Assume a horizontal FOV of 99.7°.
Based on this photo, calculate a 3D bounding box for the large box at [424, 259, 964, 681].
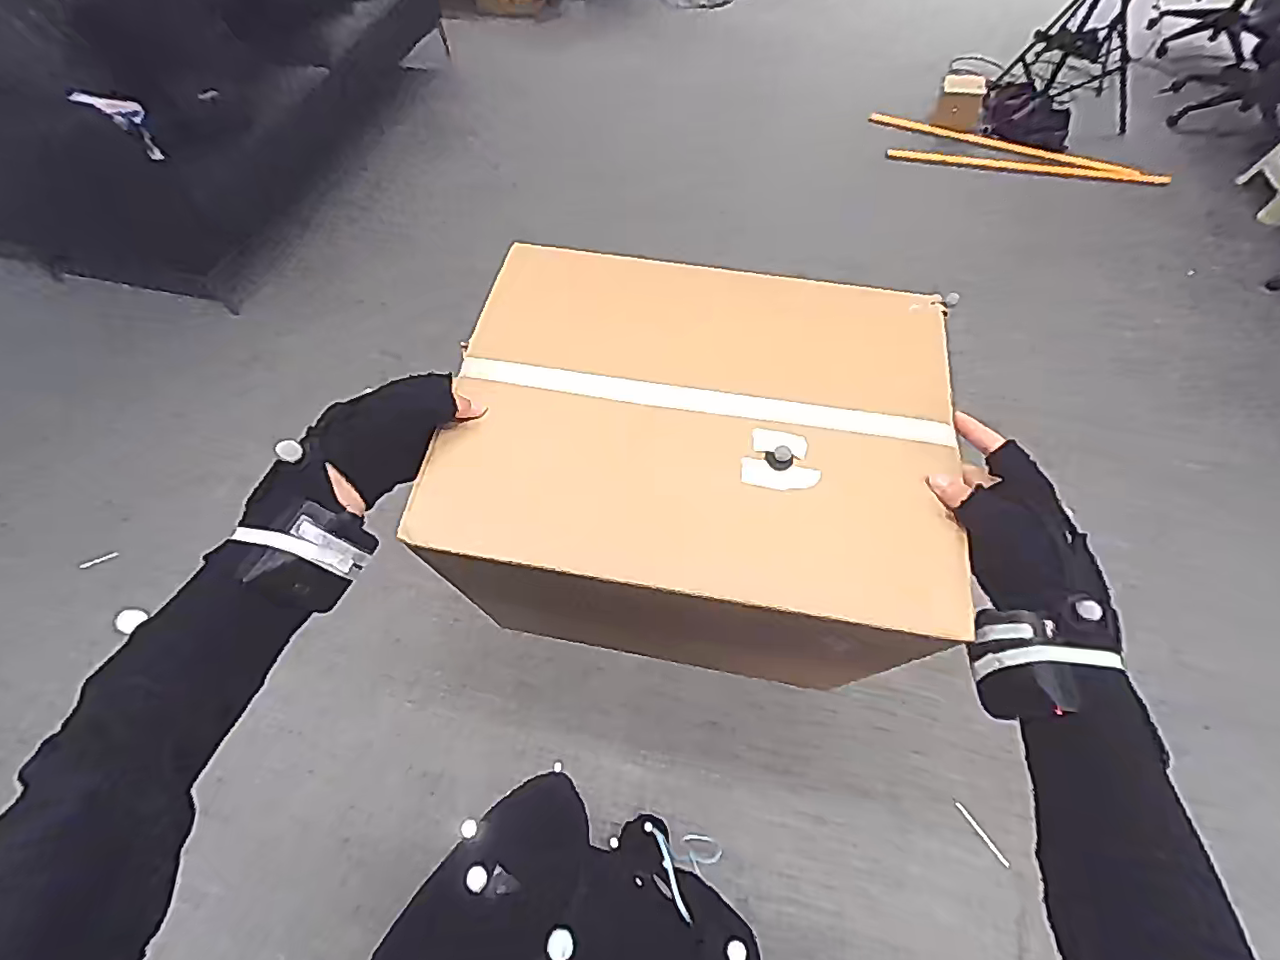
[{"bbox_3d":[0.052,0.009,0.588,0.408,0.320,0.320,9,64,4],"label":"large box"}]
